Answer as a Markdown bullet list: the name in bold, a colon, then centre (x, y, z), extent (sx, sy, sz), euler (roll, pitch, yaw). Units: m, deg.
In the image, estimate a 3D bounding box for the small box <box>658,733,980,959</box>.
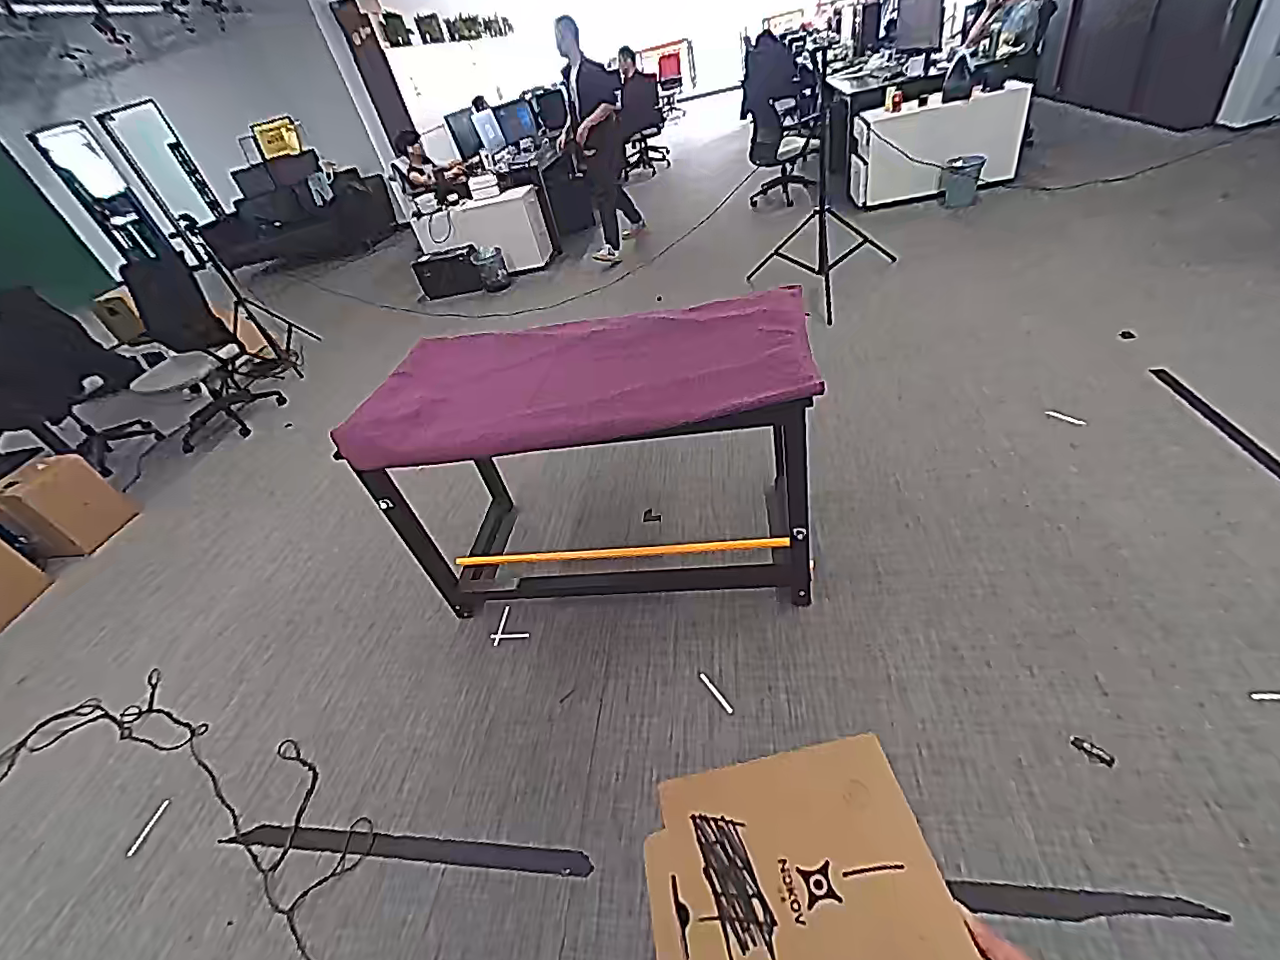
- **small box**: centre (0.123, 0.326, 0.415), extent (0.179, 0.176, 0.168), euler (-13, 43, -1)
